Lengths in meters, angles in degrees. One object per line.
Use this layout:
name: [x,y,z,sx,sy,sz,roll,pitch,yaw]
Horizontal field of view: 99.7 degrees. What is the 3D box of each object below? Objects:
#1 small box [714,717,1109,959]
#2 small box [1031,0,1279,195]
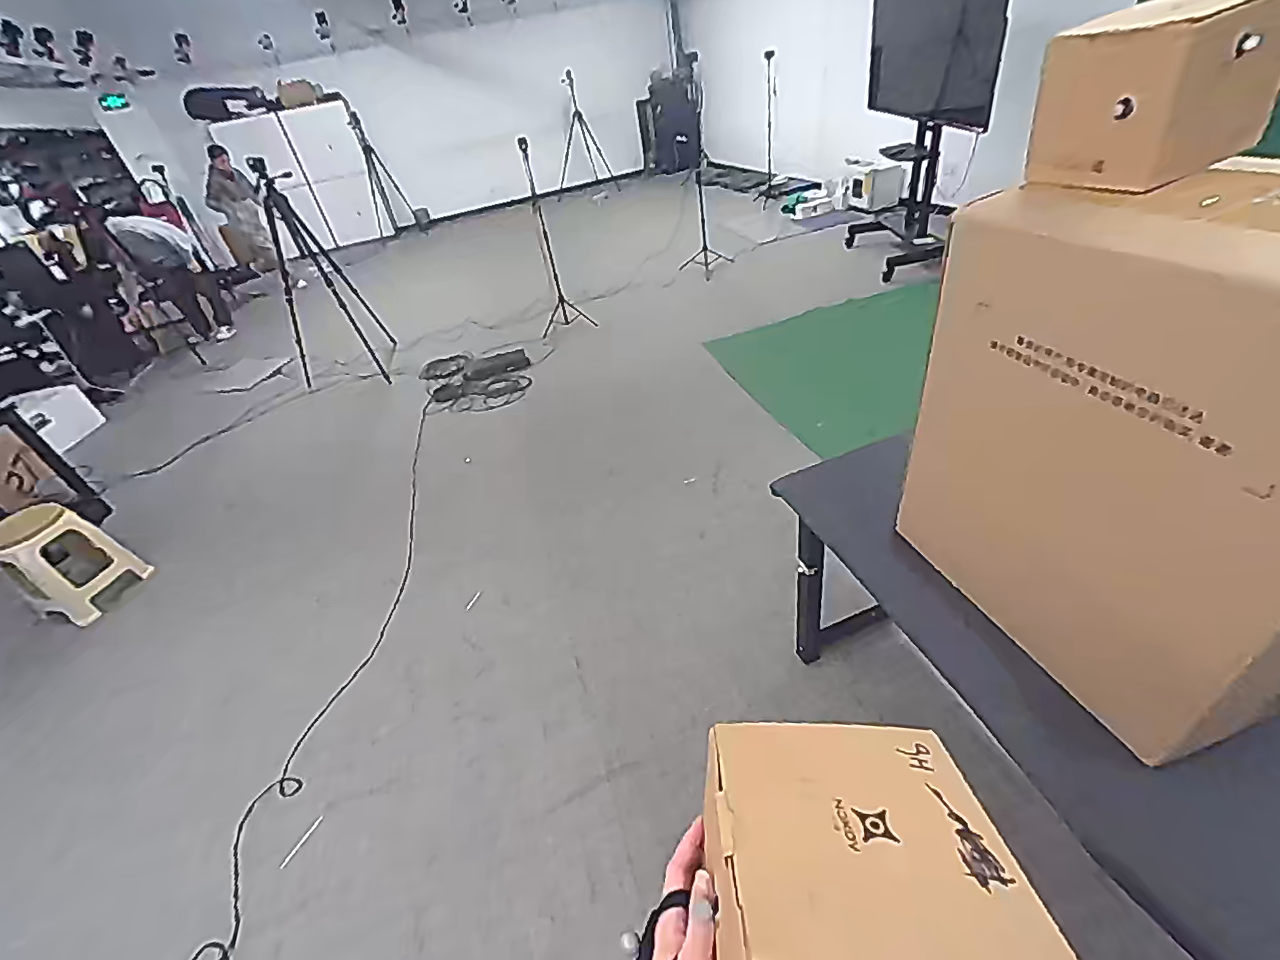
small box: [0.144,0.286,0.360,0.179,0.176,0.168,1,20,0]
small box: [0.634,-0.474,0.678,0.179,0.176,0.168,-22,38,-9]
